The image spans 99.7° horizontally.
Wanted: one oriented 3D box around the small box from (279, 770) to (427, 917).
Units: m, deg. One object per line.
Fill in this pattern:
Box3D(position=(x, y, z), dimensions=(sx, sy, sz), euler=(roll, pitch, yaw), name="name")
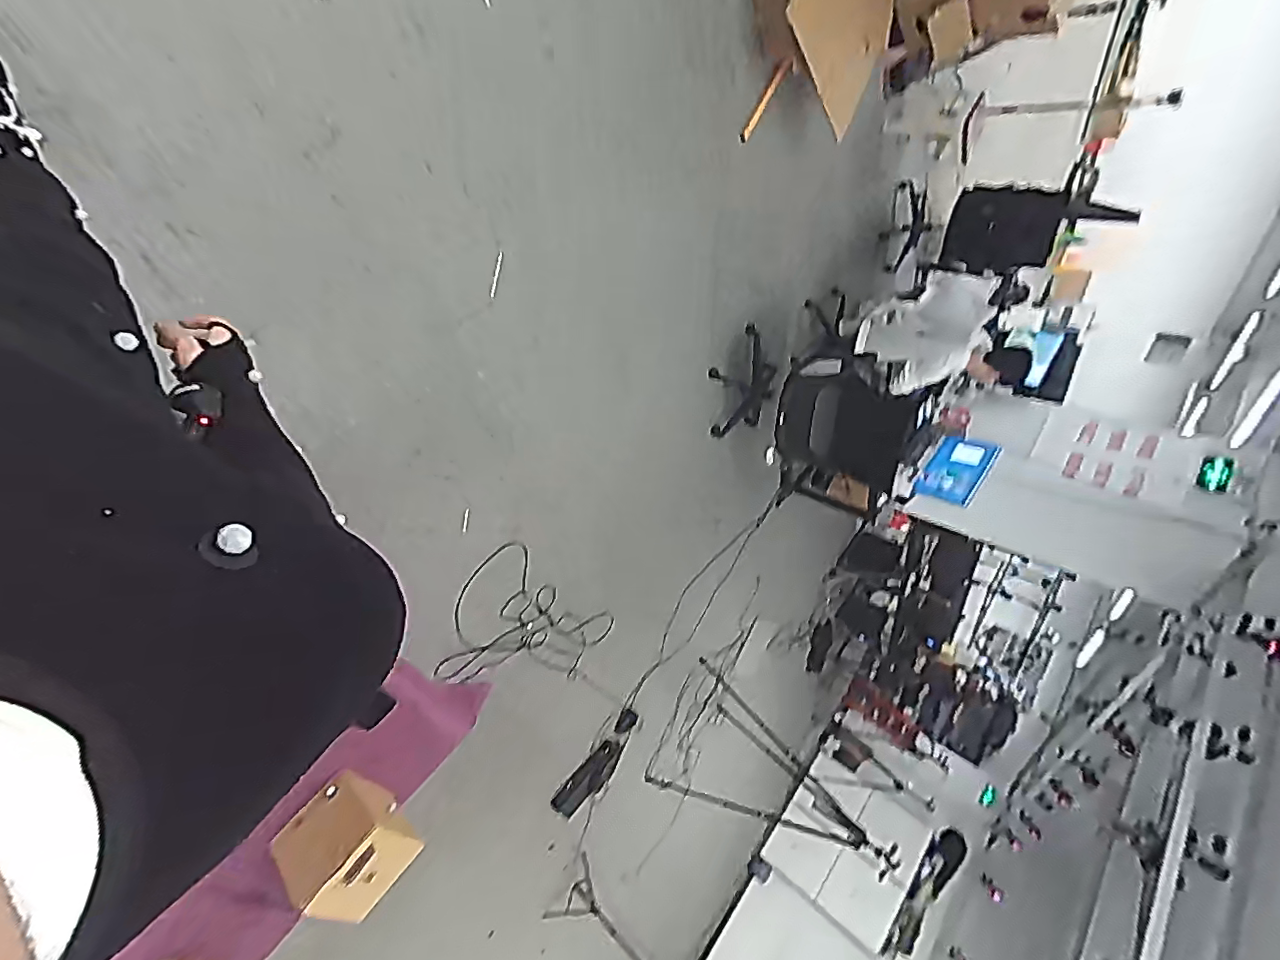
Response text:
Box3D(position=(-0.574, 0.720, 1.082), dimensions=(0.168, 0.176, 0.179), euler=(-46, 140, -24), name="small box")
